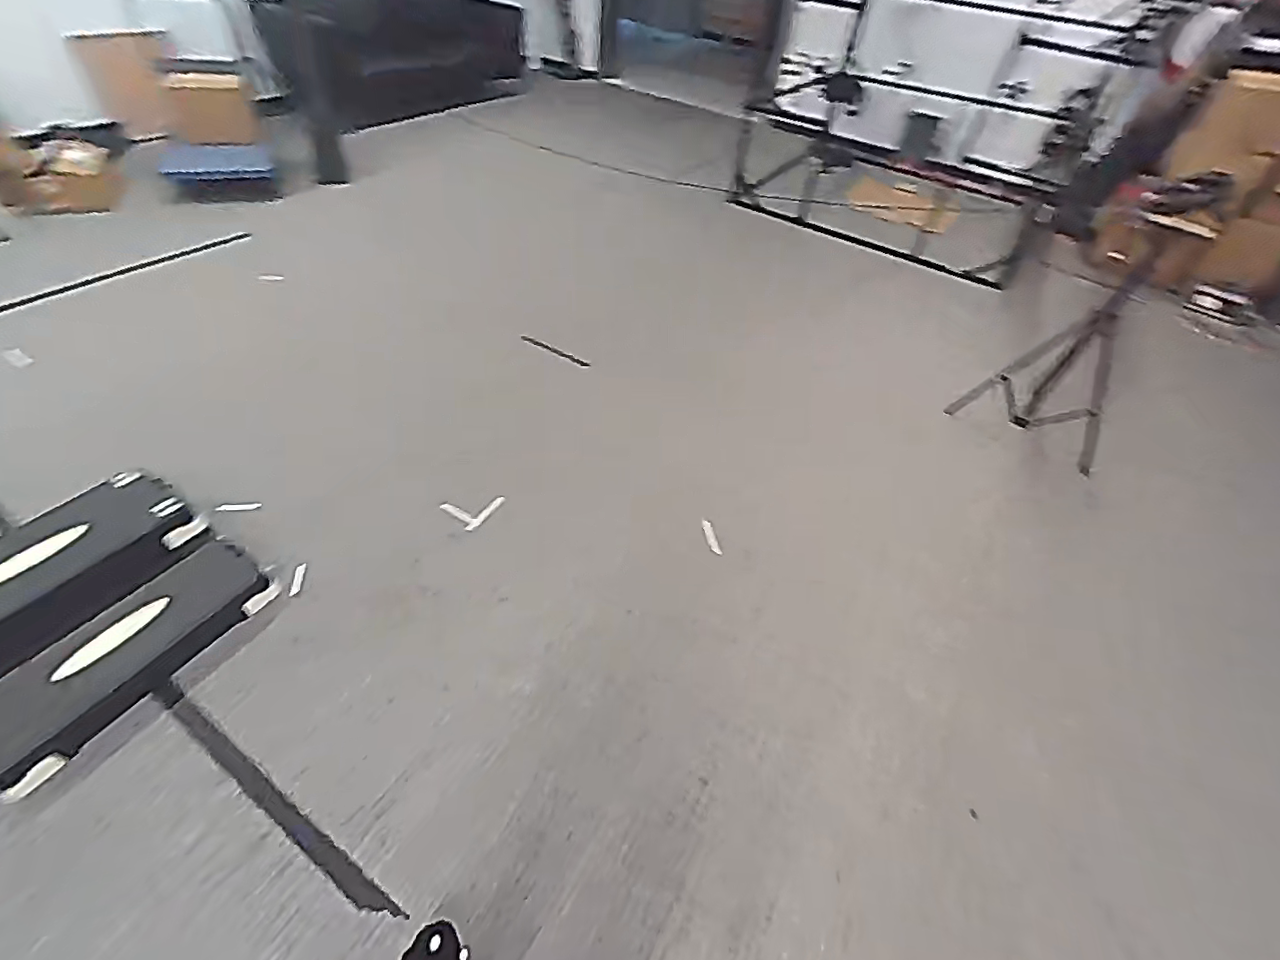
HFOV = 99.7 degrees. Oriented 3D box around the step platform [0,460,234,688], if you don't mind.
[{"bbox_3d":[-1.554,0.231,1.490,0.286,0.204,0.684,27,48,17],"label":"step platform"}]
